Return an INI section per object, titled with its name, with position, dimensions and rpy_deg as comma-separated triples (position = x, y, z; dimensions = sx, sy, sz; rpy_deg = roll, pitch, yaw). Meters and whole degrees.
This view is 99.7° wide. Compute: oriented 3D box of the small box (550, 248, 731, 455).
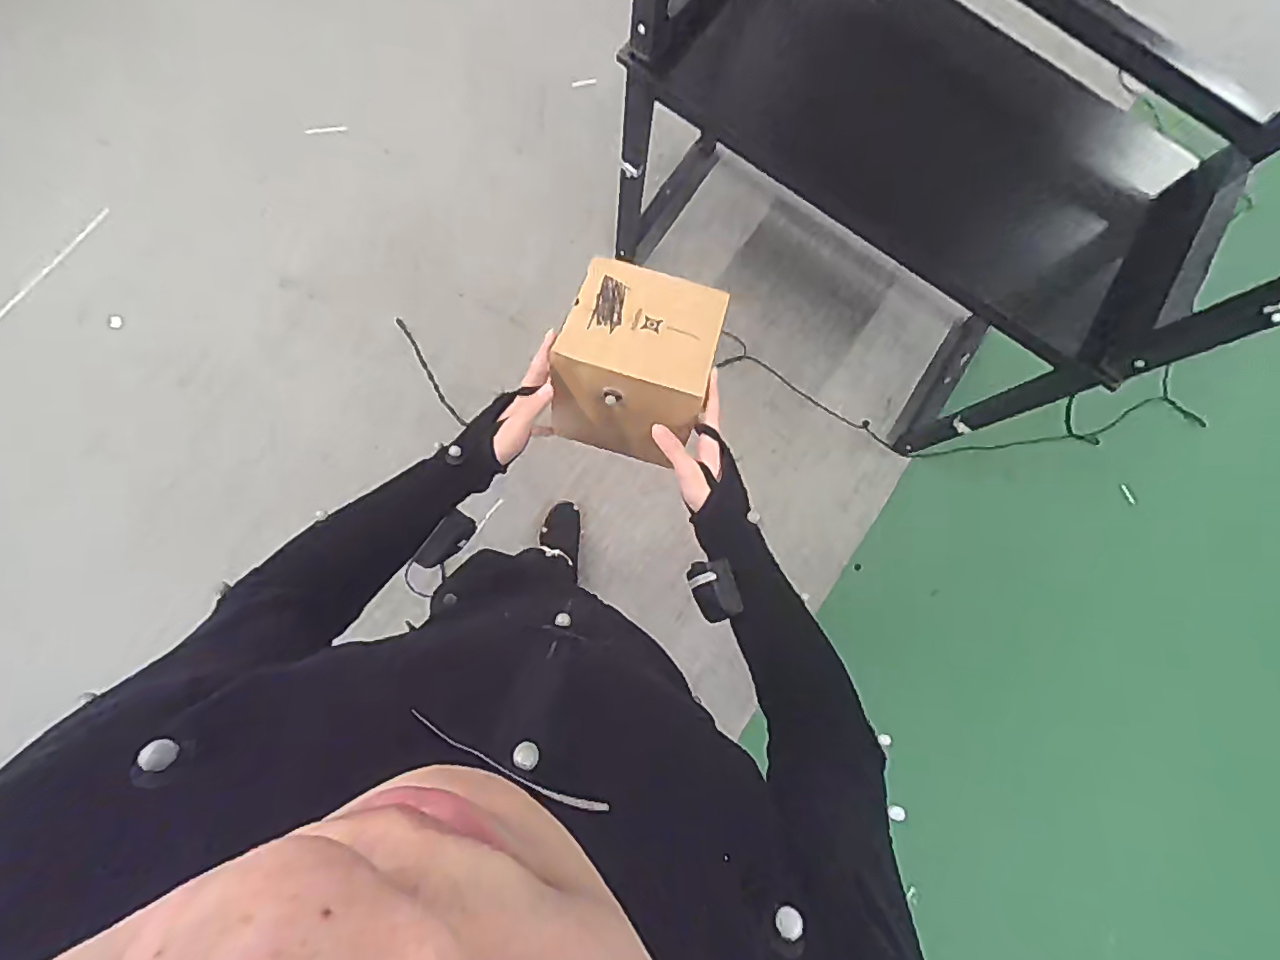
[small box]
position = -0.003, -0.152, 0.683
dimensions = 0.179, 0.176, 0.168
rpy_deg = 16, 63, 1
